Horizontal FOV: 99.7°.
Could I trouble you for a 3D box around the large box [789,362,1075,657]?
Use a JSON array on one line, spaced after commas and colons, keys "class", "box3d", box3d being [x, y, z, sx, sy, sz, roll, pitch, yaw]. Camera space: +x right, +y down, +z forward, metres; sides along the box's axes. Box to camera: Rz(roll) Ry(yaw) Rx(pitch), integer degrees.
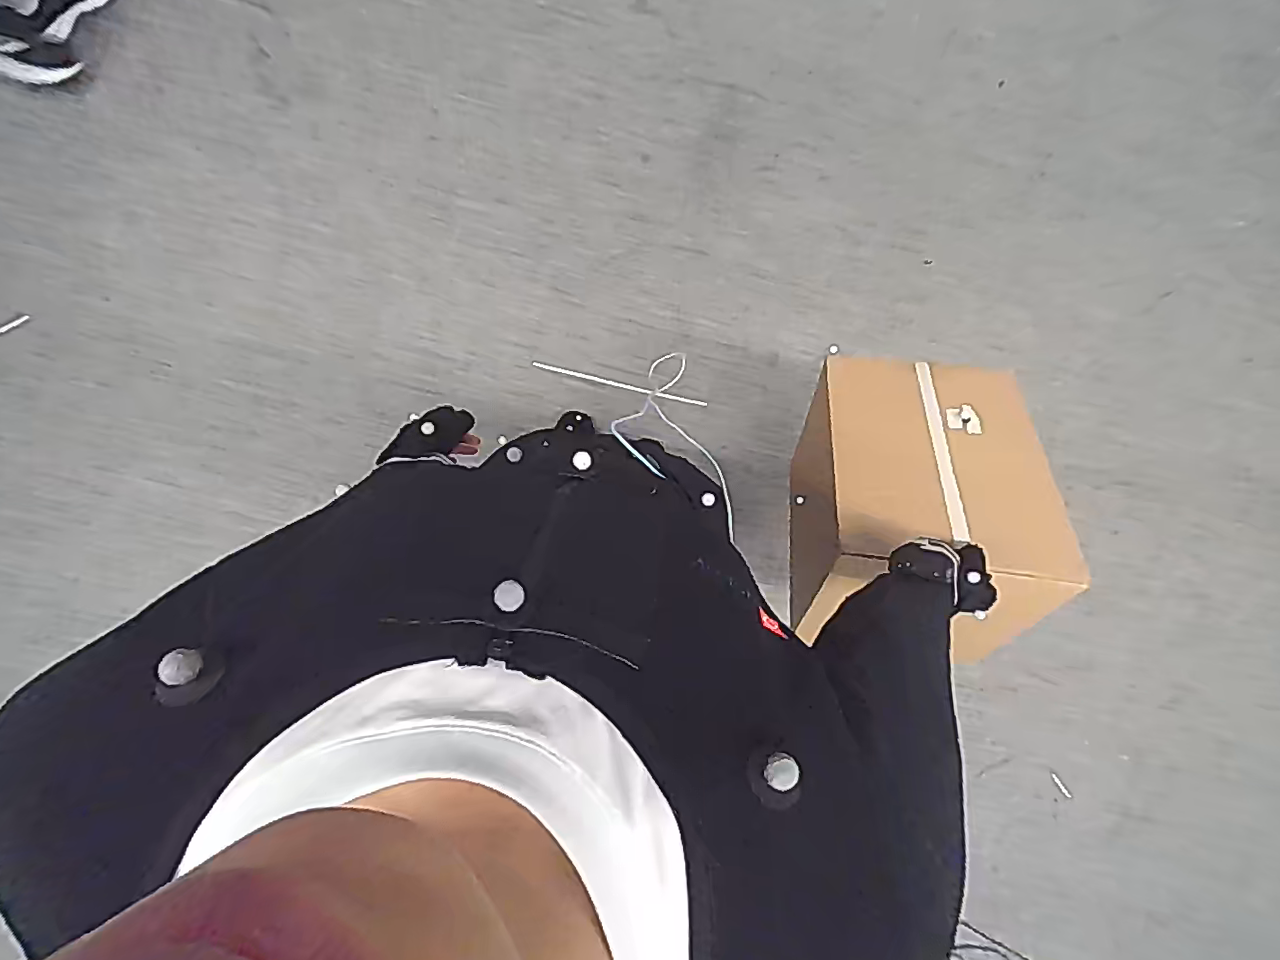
[{"class": "large box", "box3d": [0.447, 0.051, 0.952, 0.320, 0.320, 0.408, 8, 53, 5]}]
